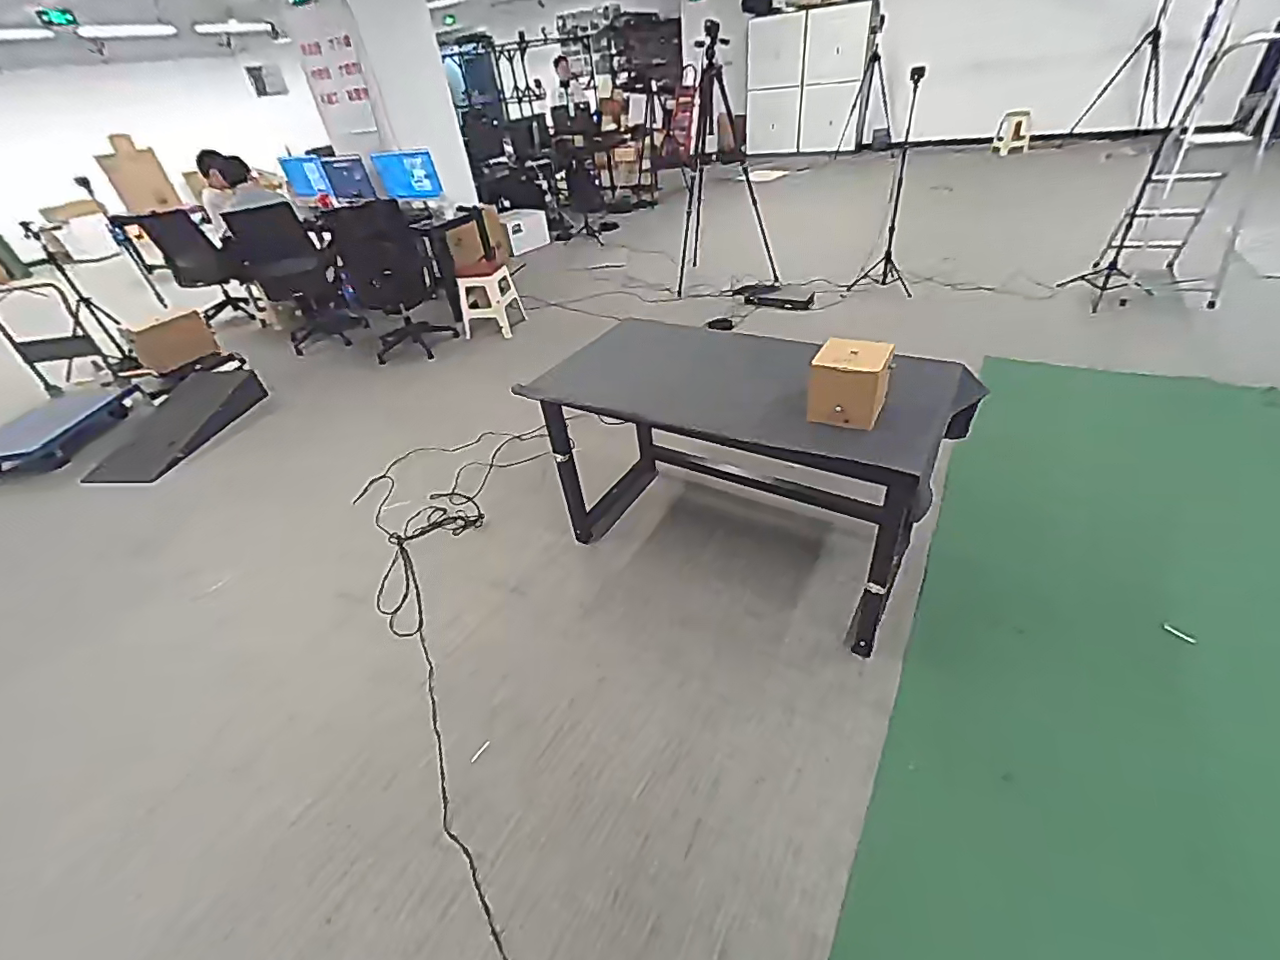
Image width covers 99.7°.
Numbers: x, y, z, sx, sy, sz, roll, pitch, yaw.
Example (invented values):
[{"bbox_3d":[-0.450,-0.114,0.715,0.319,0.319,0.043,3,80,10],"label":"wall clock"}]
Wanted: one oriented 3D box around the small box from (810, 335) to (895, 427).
[{"bbox_3d":[0.551,-0.262,1.415,0.168,0.176,0.179,14,43,29],"label":"small box"}]
